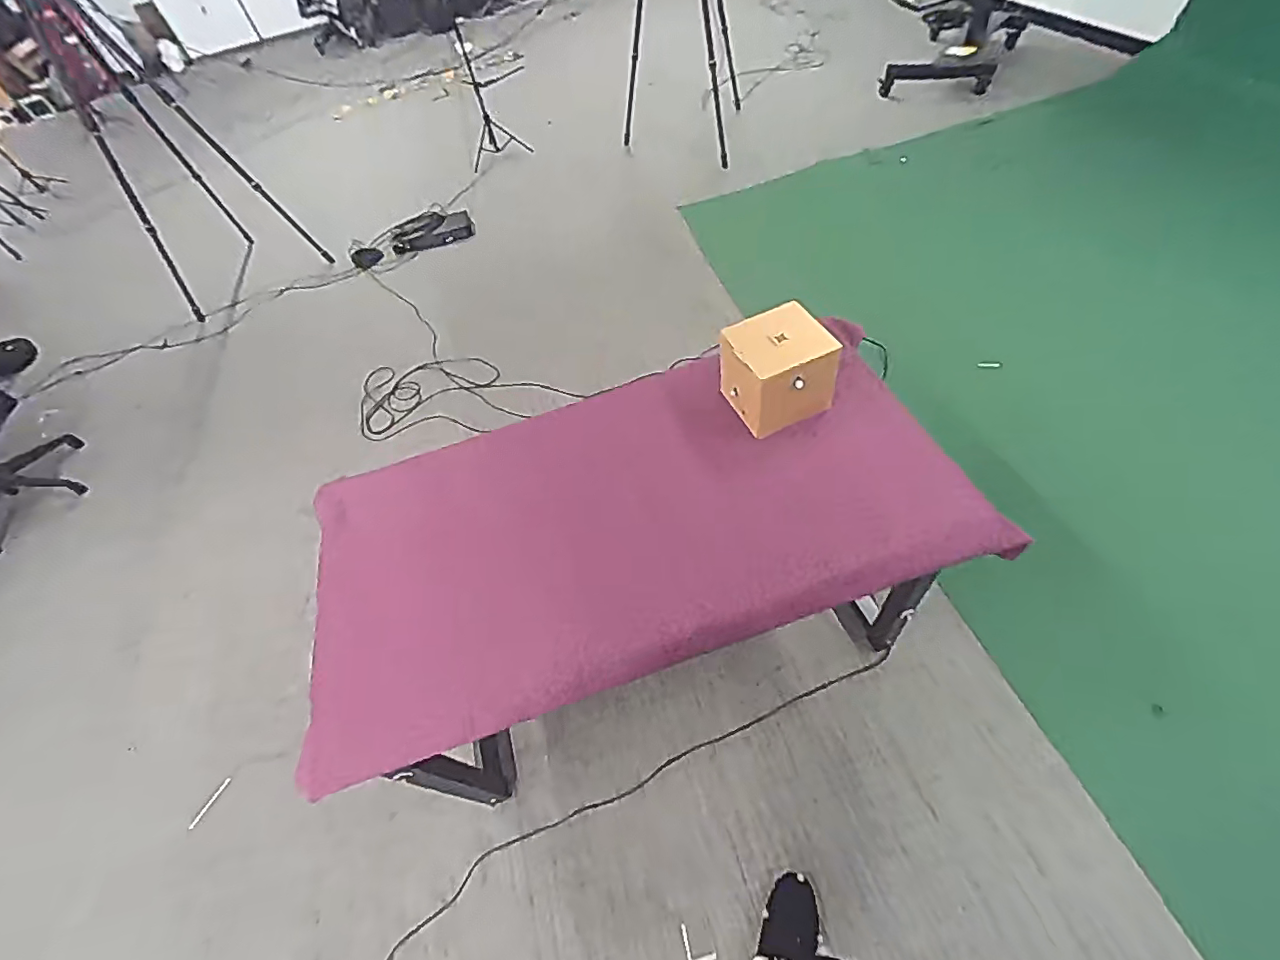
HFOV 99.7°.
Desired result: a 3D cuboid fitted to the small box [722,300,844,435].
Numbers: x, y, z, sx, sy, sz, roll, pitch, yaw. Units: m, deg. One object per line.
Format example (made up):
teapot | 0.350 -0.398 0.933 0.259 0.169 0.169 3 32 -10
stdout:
small box | 0.280 -0.223 1.091 0.179 0.176 0.168 -24 54 -5
